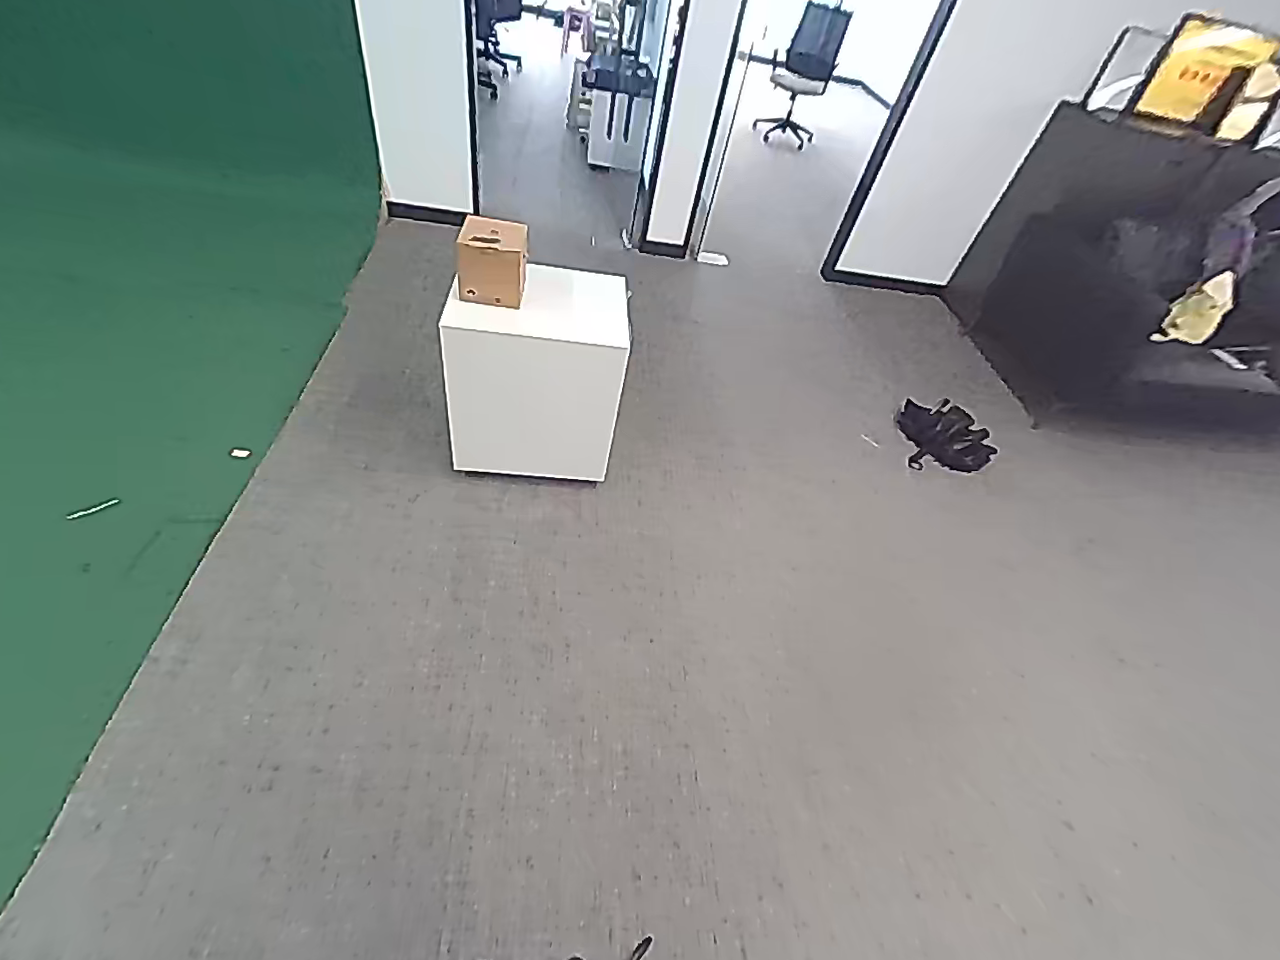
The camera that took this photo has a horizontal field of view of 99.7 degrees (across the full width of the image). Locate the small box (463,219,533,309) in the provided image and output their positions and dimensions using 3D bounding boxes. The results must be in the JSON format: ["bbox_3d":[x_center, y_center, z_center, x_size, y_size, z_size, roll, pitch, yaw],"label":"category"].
[{"bbox_3d":[-0.393,-0.601,1.516,0.168,0.176,0.179,6,47,-9],"label":"small box"}]
